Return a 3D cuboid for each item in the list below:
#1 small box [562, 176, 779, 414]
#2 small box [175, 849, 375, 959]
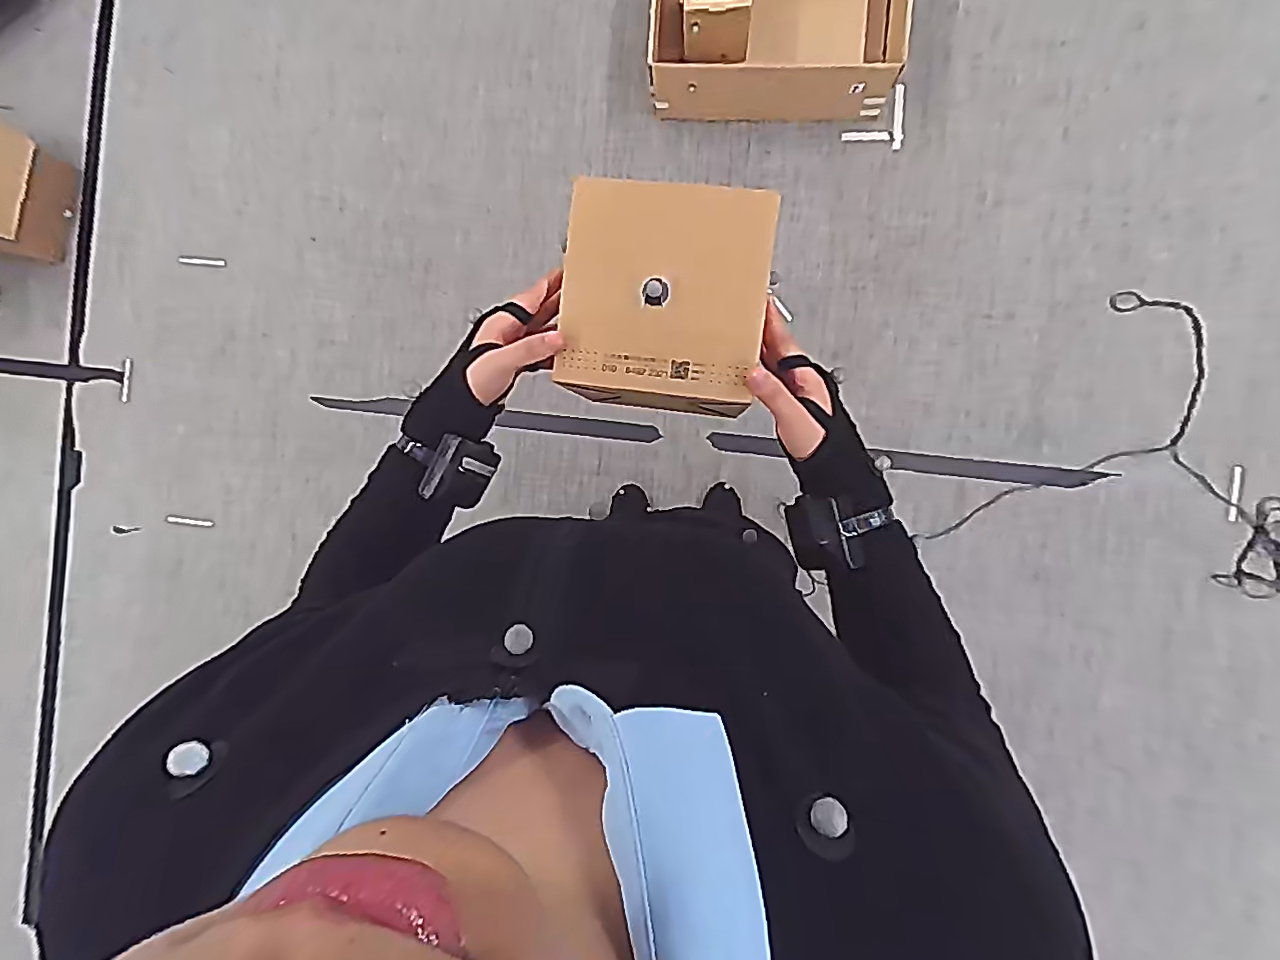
[{"bbox_3d":[0.029,-0.156,0.510,0.168,0.179,0.176,8,94,6],"label":"small box"},{"bbox_3d":[-0.490,0.657,0.736,0.168,0.176,0.179,10,92,6],"label":"small box"}]
